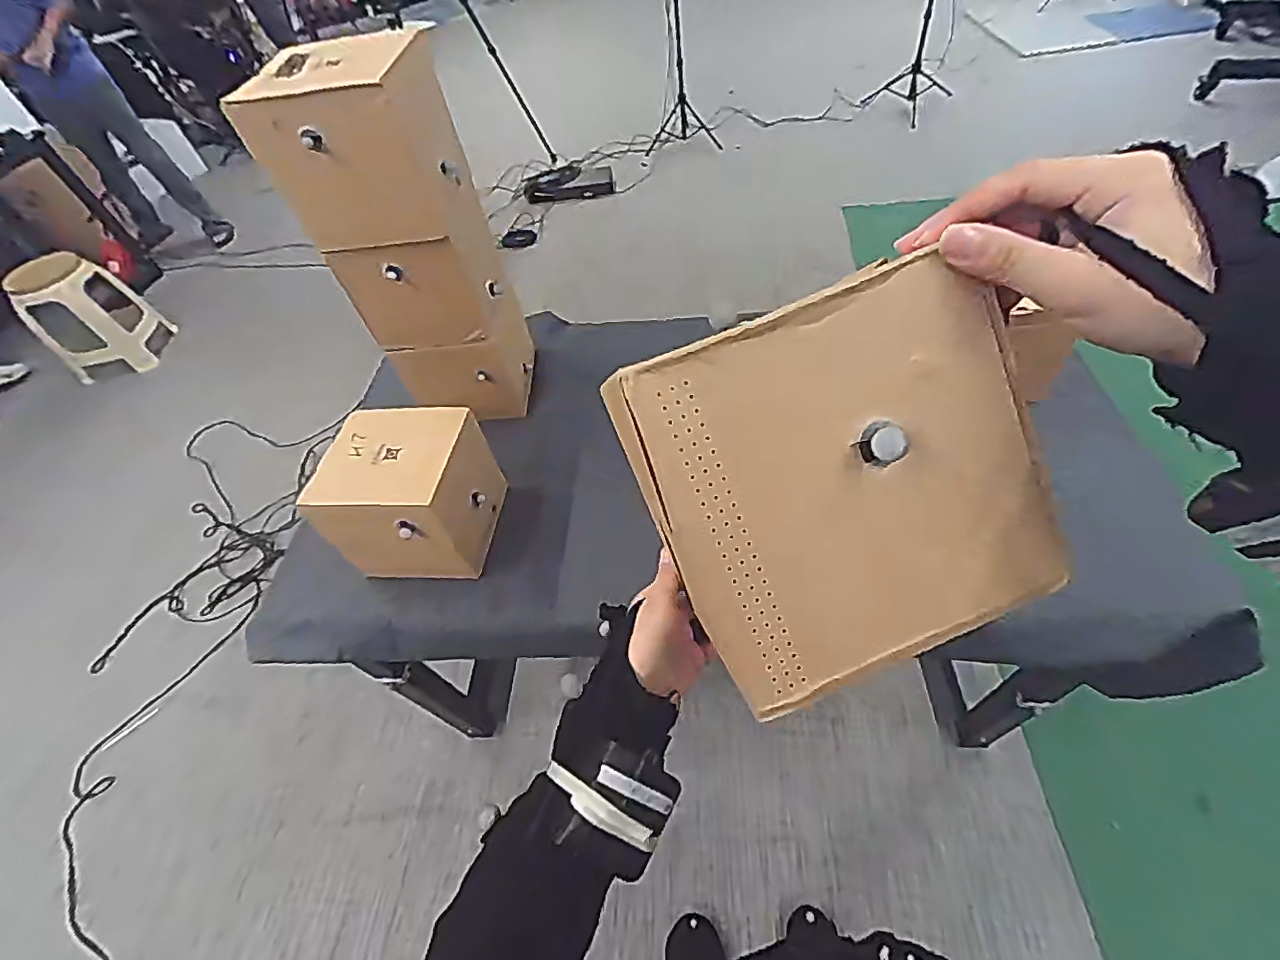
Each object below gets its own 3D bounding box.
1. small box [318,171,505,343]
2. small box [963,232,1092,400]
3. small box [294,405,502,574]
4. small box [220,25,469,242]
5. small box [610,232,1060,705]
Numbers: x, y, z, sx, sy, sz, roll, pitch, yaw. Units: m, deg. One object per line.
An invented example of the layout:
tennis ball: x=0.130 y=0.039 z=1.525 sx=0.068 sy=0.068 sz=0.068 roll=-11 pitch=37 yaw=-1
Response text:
small box: x=-0.315 y=-0.317 z=0.787 sx=0.179 sy=0.176 sz=0.168 roll=-4 pitch=55 yaw=4
small box: x=0.503 y=-0.238 z=0.799 sx=0.168 sy=0.176 sz=0.179 roll=0 pitch=54 yaw=9
small box: x=-0.305 y=0.016 z=0.732 sx=0.179 sy=0.176 sz=0.168 roll=0 pitch=50 yaw=9
small box: x=-0.331 y=-0.407 z=0.650 sx=0.179 sy=0.176 sz=0.168 roll=-3 pitch=55 yaw=5
small box: x=0.086 y=-0.008 z=0.319 sx=0.176 sy=0.179 sz=0.168 roll=-22 pitch=10 yaw=-3
